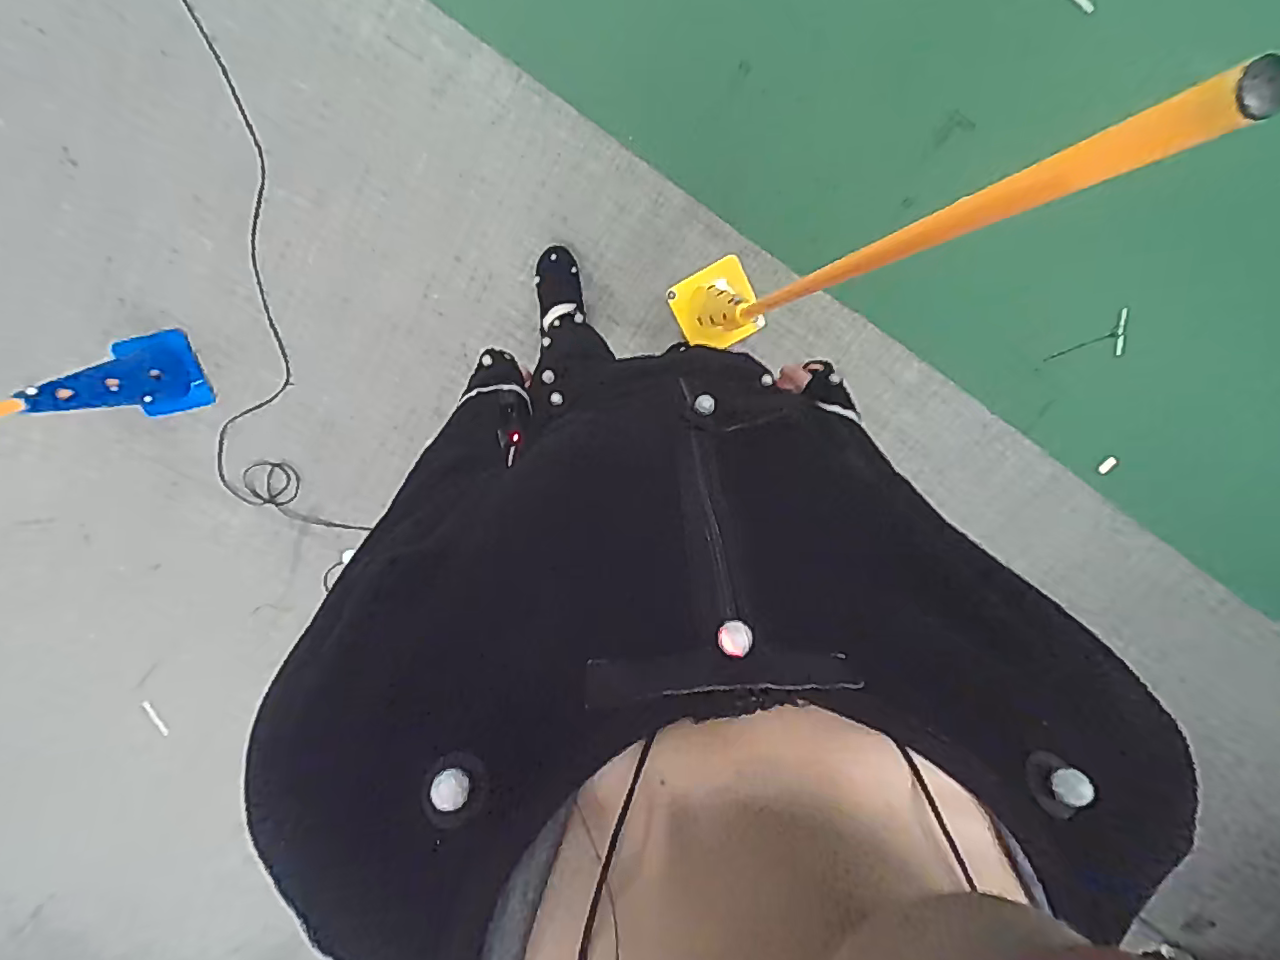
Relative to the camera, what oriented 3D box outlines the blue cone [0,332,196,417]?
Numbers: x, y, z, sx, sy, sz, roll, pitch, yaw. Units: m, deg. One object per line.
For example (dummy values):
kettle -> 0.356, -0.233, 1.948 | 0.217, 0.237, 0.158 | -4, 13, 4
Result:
blue cone -> -1.239, -0.205, 1.213 | 0.193, 0.380, 0.192 | -12, 110, 4
